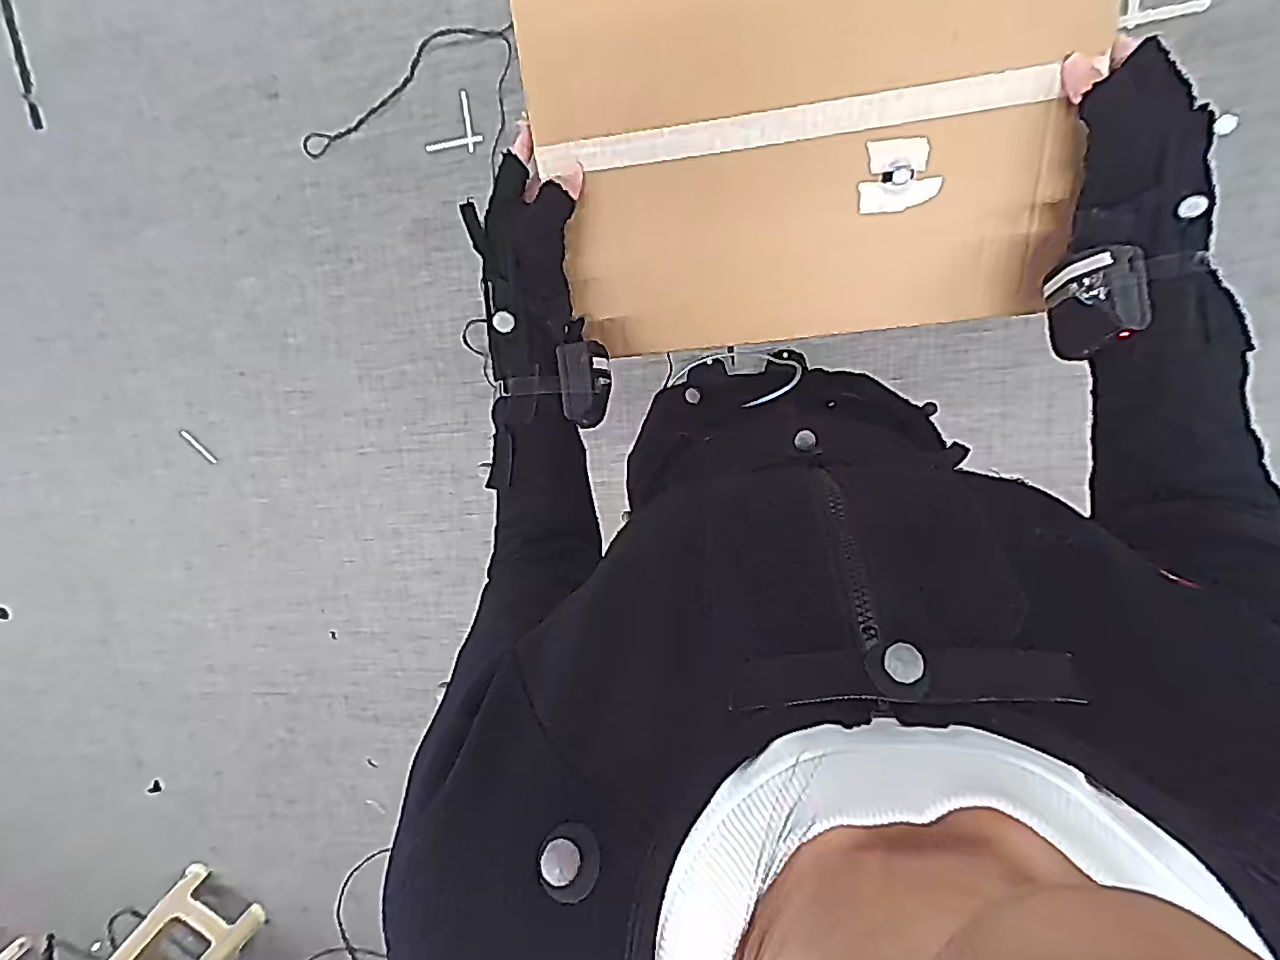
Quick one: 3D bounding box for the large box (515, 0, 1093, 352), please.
[{"bbox_3d":[0.127,-0.332,0.546,0.408,0.320,0.320,-5,113,6],"label":"large box"}]
